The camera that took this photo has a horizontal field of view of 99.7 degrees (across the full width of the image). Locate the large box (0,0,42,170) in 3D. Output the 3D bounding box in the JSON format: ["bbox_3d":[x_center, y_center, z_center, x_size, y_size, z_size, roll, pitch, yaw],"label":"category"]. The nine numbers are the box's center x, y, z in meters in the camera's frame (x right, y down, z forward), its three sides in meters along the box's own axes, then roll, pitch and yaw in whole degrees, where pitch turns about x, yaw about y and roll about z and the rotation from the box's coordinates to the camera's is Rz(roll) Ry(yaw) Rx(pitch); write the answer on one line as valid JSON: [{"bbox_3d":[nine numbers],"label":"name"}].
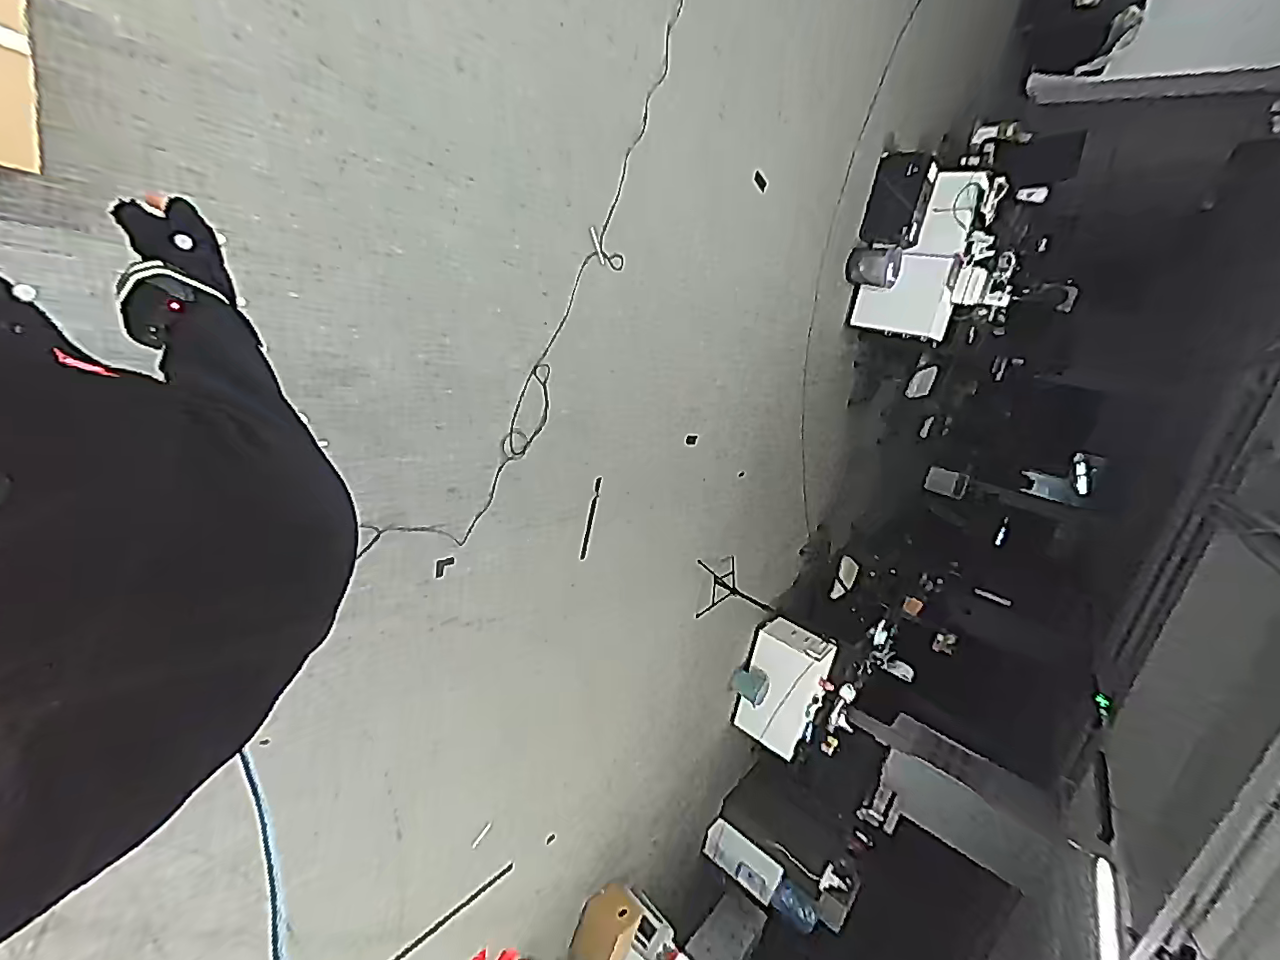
[{"bbox_3d":[-1.048,-0.605,0.644,0.408,0.320,0.320,-9,116,-53],"label":"large box"}]
